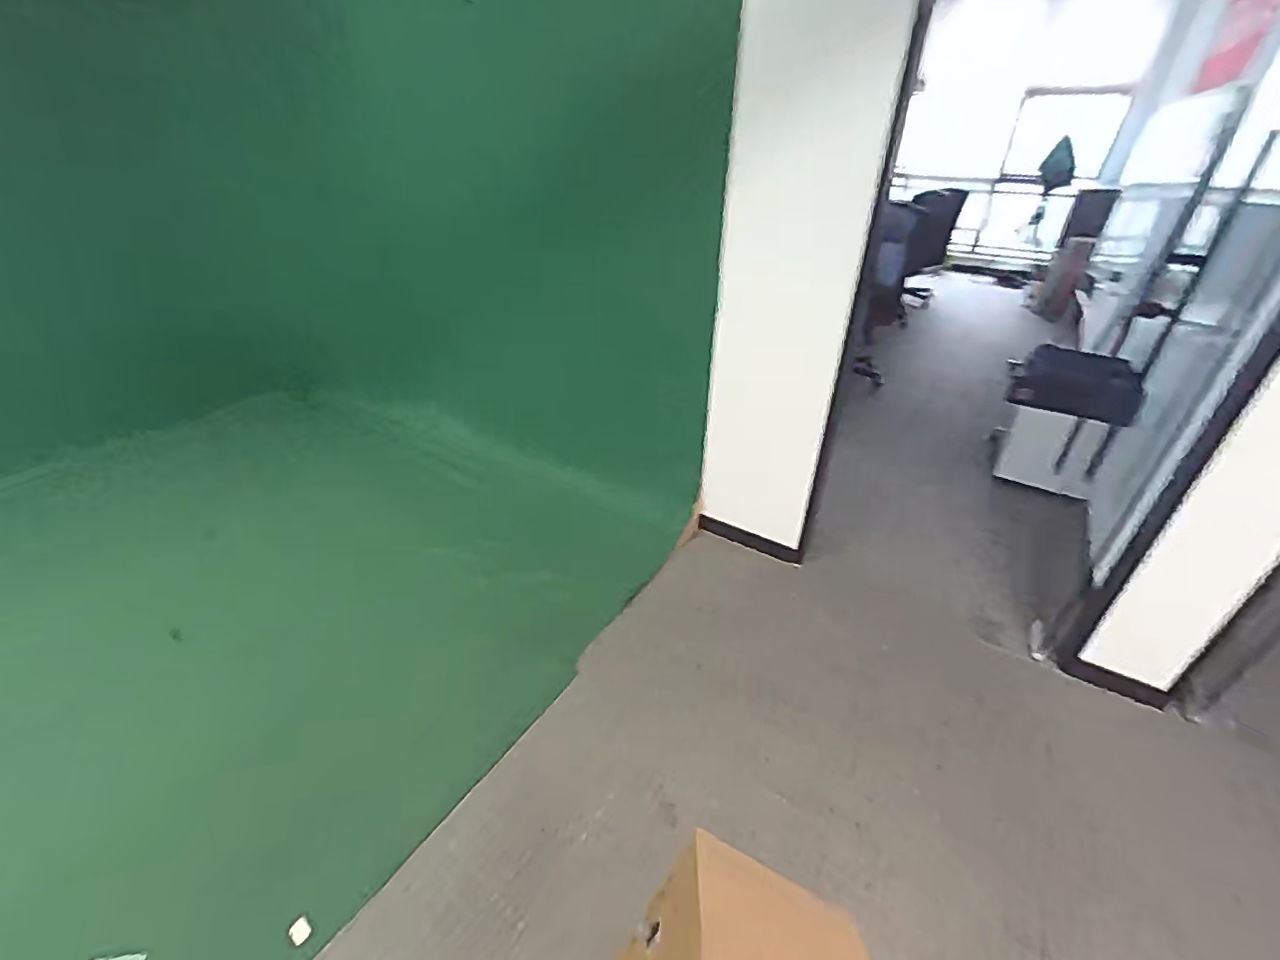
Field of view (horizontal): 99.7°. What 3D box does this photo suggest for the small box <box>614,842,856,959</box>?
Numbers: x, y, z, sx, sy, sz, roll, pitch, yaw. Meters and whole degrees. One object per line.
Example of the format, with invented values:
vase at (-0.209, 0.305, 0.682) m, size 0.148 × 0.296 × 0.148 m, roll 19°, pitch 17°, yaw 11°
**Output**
small box at (0.080, 0.452, 0.444) m, size 0.179 × 0.168 × 0.176 m, roll 29°, pitch 5°, yaw 1°
